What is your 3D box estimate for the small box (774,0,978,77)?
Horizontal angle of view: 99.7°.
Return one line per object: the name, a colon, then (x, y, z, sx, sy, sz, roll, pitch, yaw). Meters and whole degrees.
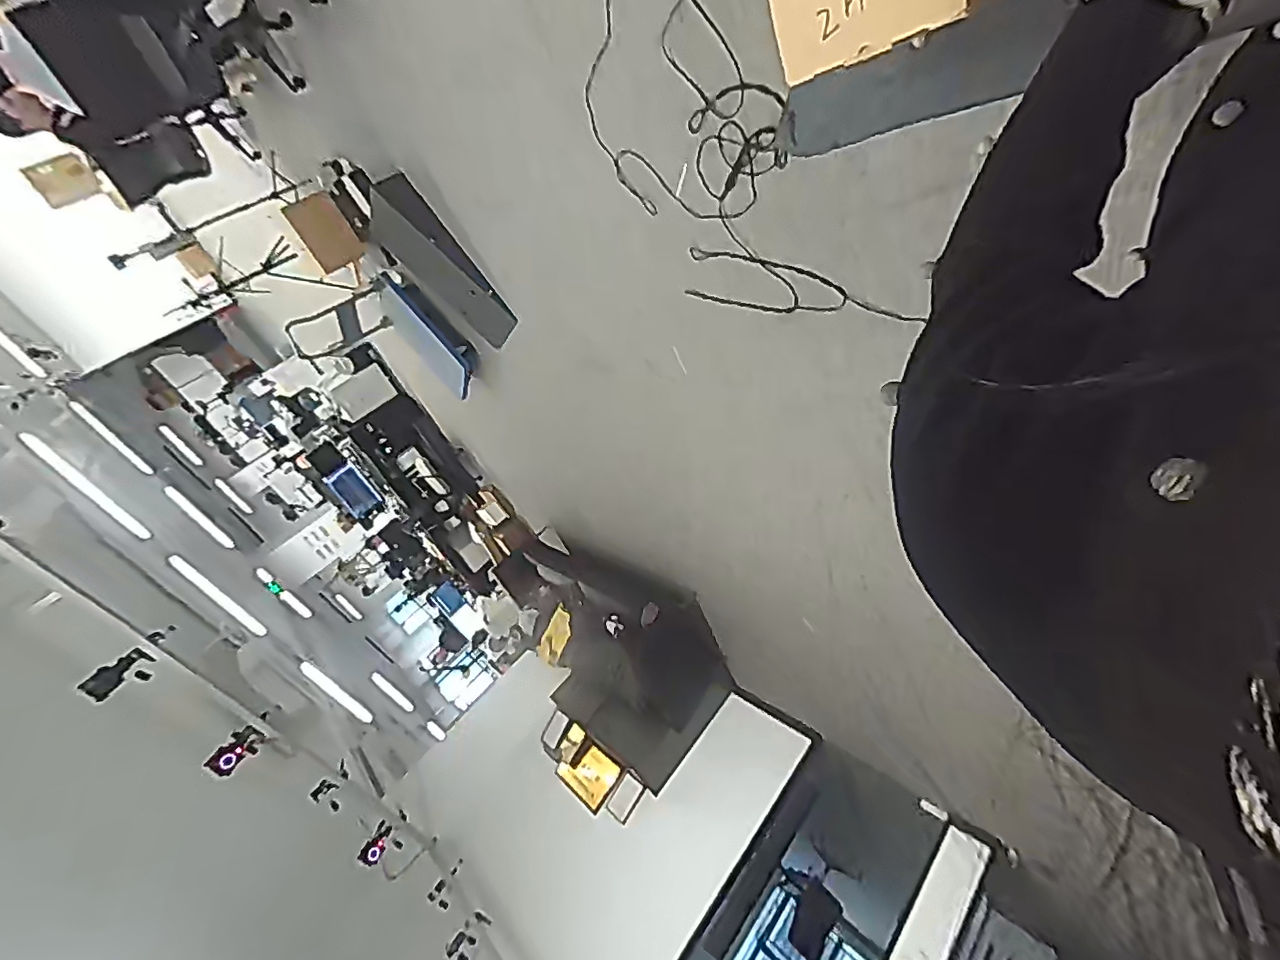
small box: (0.222, -0.494, 0.462, 0.168, 0.176, 0.179, 15, 141, 47)
